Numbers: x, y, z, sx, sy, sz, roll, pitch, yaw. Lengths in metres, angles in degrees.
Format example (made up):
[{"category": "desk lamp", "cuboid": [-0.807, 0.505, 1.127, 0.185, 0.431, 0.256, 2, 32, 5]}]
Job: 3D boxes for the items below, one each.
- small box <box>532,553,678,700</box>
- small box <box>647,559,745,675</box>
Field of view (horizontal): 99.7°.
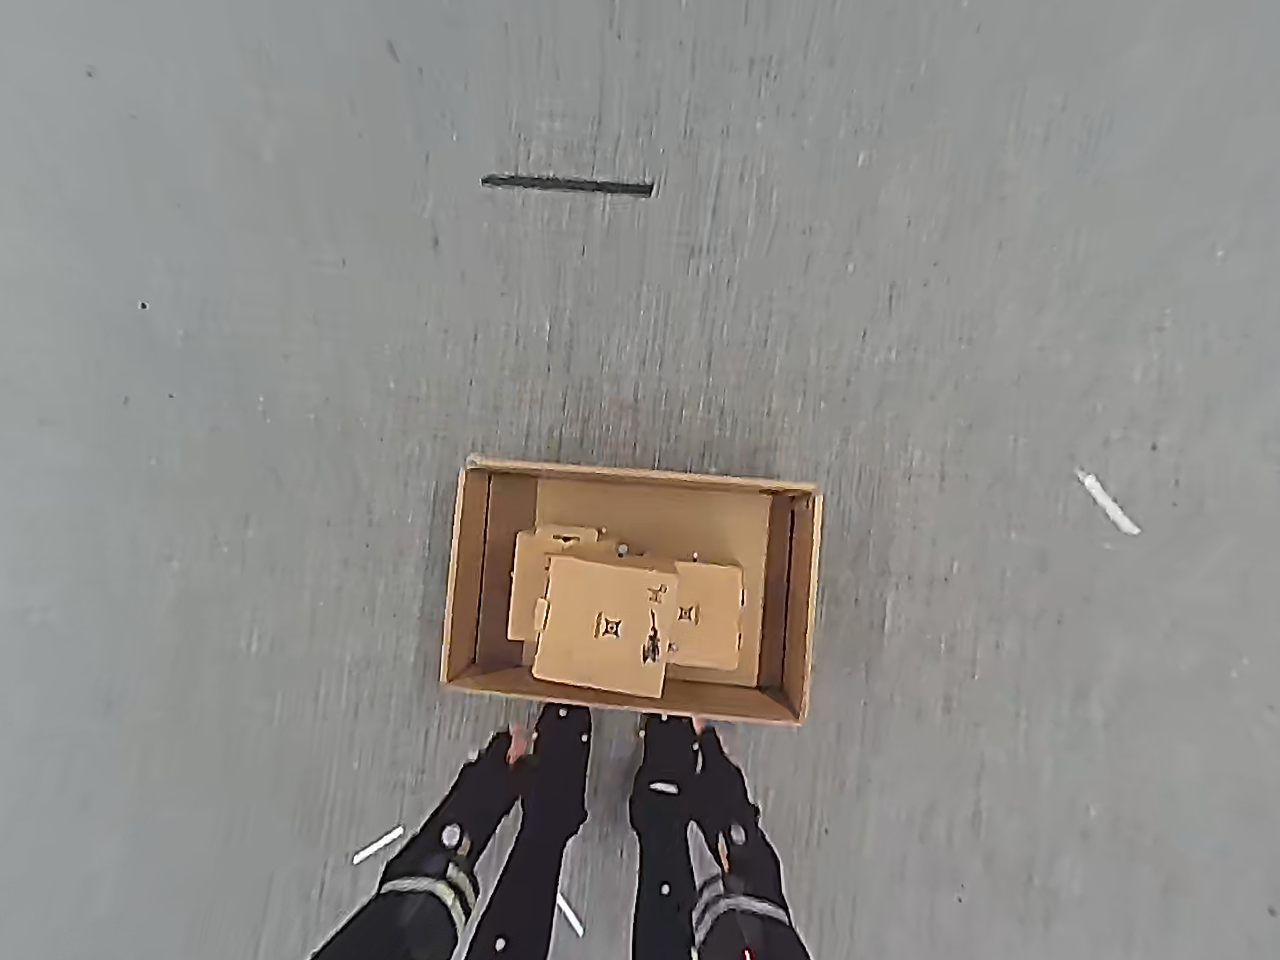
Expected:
[{"category": "small box", "cuboid": [-0.043, 0.203, 0.799, 0.179, 0.176, 0.168, 9, 87, 3]}, {"category": "small box", "cuboid": [0.084, 0.231, 0.956, 0.179, 0.176, 0.168, 4, 85, 6]}]
